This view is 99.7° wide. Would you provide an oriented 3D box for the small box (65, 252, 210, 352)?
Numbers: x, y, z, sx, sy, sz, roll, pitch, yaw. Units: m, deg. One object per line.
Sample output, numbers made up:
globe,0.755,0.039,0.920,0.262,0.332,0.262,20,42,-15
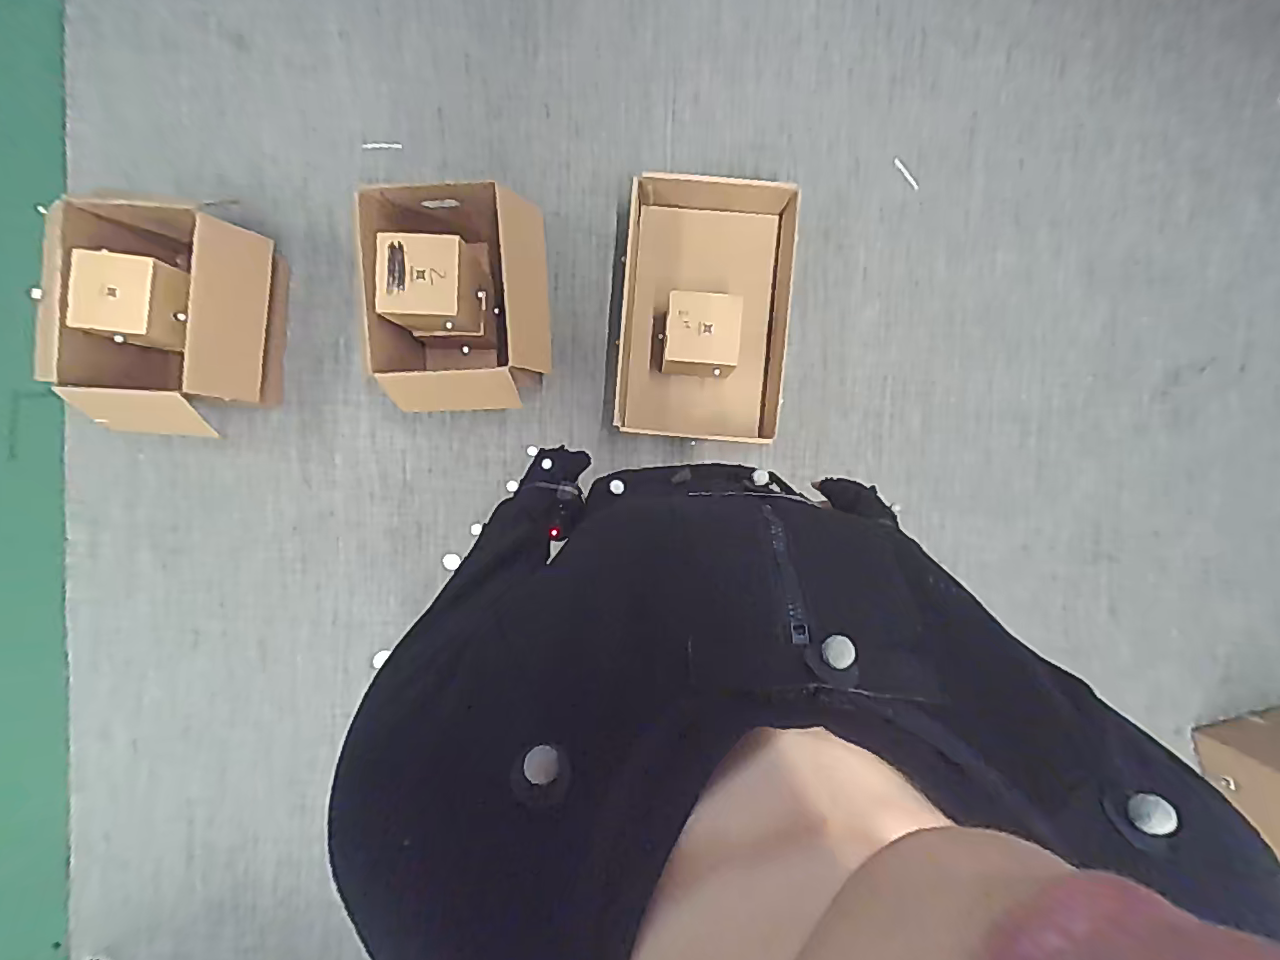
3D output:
small box,-1.121,-0.393,1.221,0.179,0.176,0.168,6,91,0
